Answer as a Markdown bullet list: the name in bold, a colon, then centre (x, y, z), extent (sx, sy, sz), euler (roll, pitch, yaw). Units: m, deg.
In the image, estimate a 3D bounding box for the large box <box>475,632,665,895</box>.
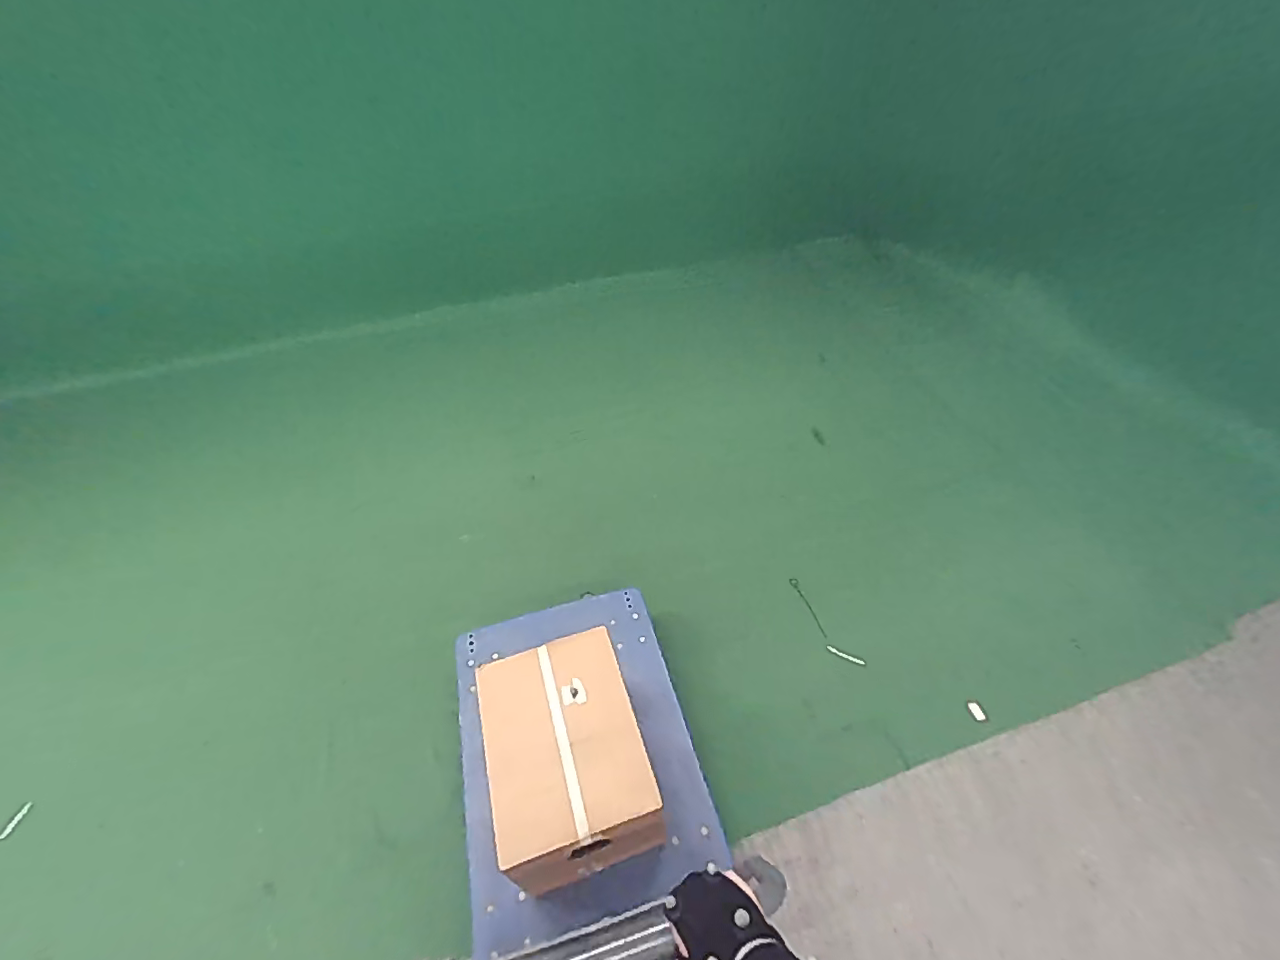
- **large box**: centre (-0.157, 0.636, 1.234), extent (0.320, 0.320, 0.408), euler (-16, 47, -11)
